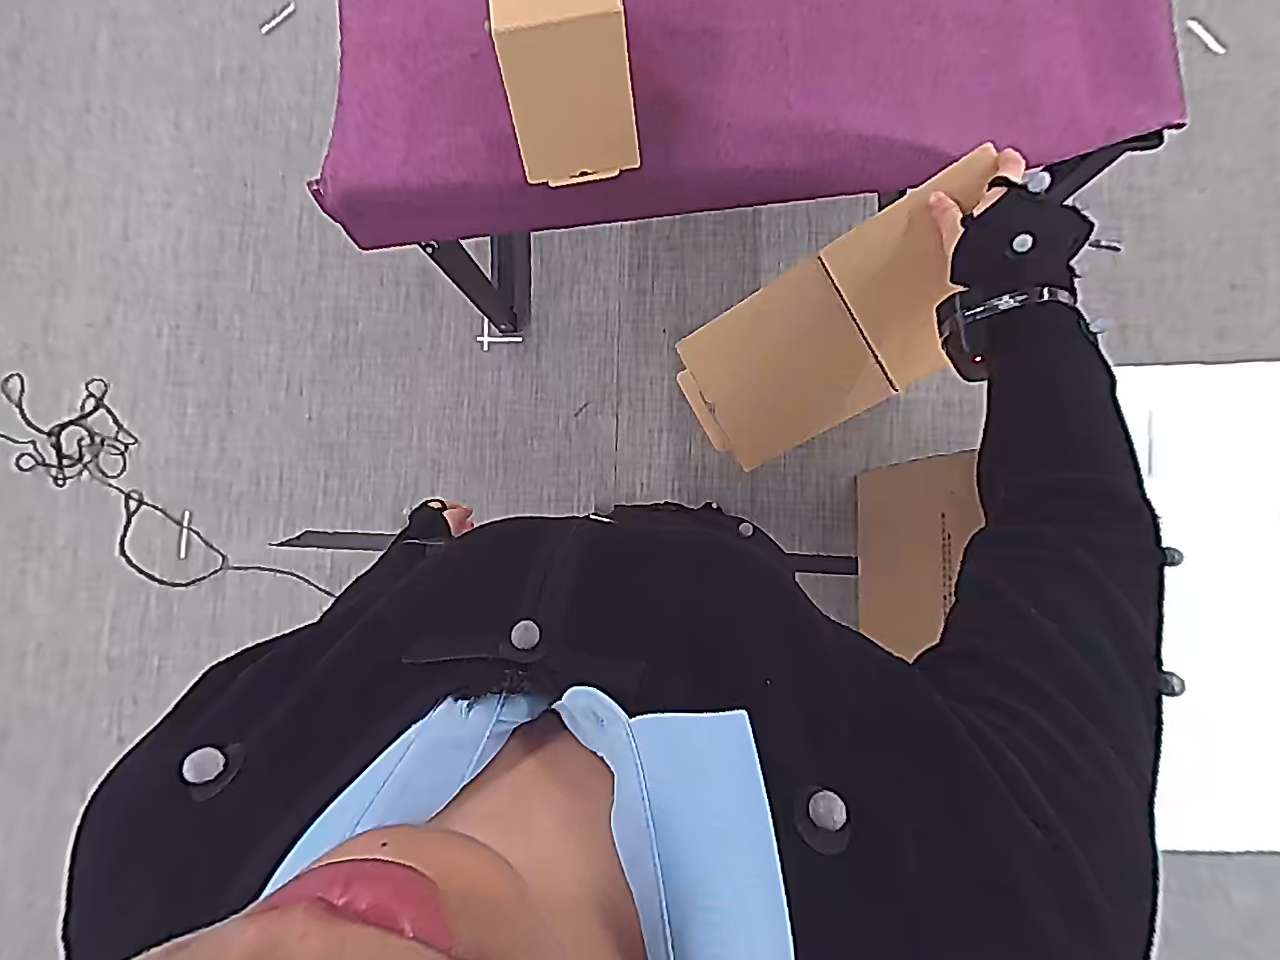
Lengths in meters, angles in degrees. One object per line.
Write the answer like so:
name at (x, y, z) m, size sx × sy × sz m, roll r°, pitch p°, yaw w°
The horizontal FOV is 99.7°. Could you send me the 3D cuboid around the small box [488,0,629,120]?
small box at (-0.108, -0.639, 0.753) m, size 0.168 × 0.176 × 0.179 m, roll -7°, pitch 84°, yaw 2°
